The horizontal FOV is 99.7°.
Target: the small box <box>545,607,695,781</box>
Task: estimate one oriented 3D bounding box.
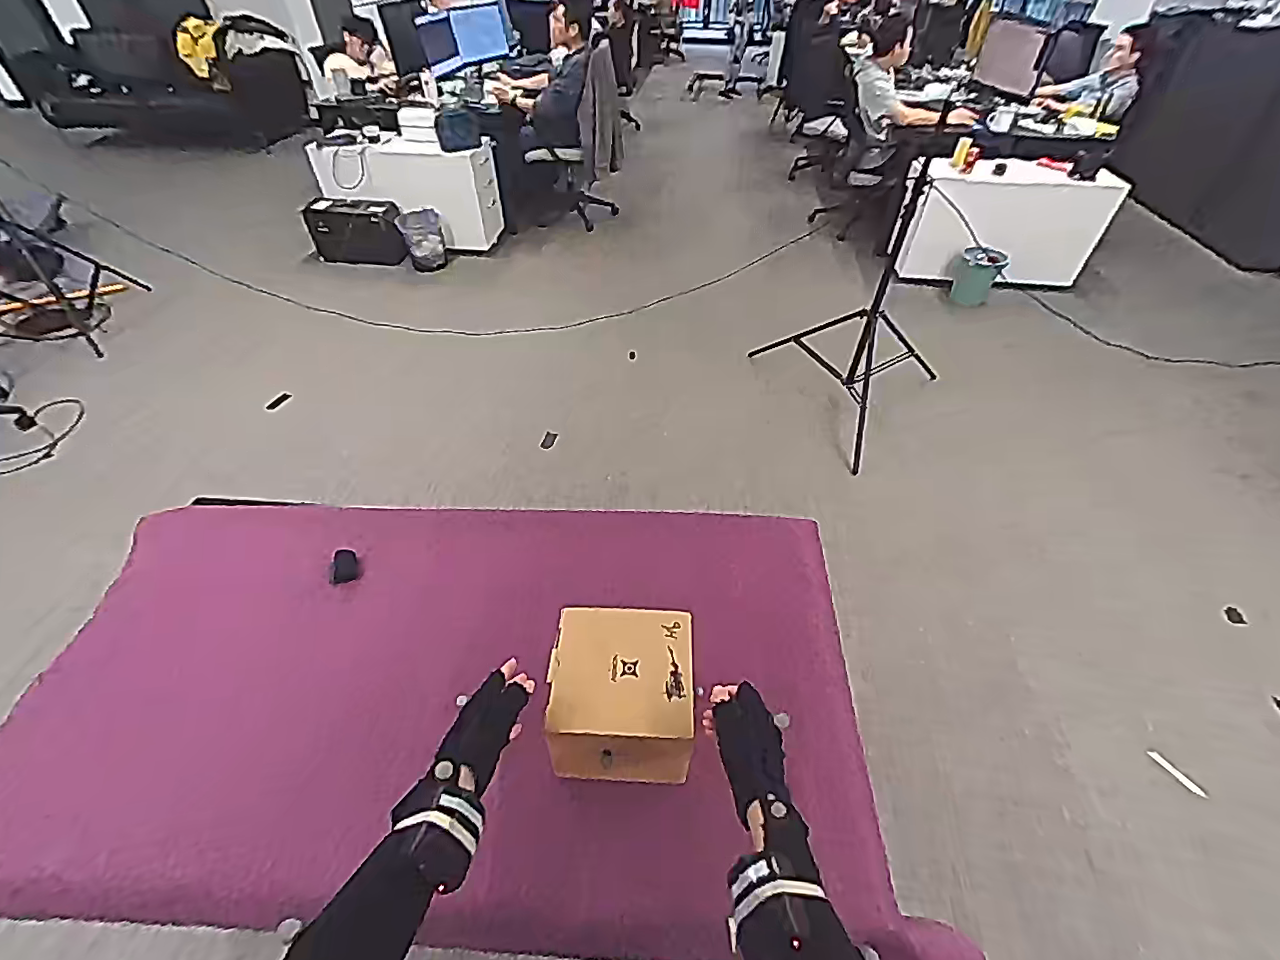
[{"bbox_3d":[-0.018,0.288,0.726,0.179,0.176,0.168,1,45,2],"label":"small box"}]
